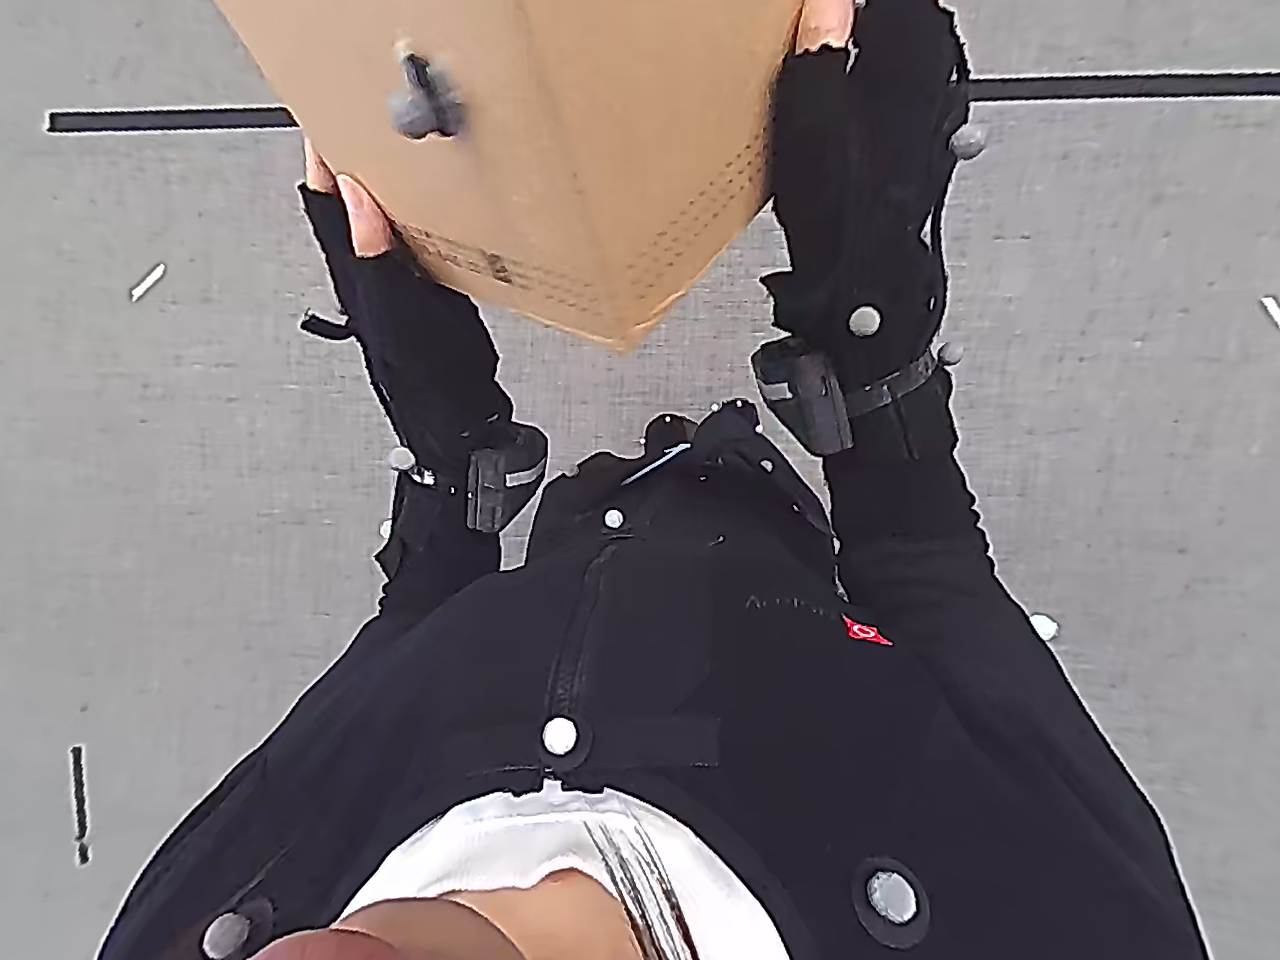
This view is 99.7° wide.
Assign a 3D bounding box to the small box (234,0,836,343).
[{"bbox_3d":[-0.033,-0.185,0.215,0.168,0.176,0.179,31,70,31],"label":"small box"}]
